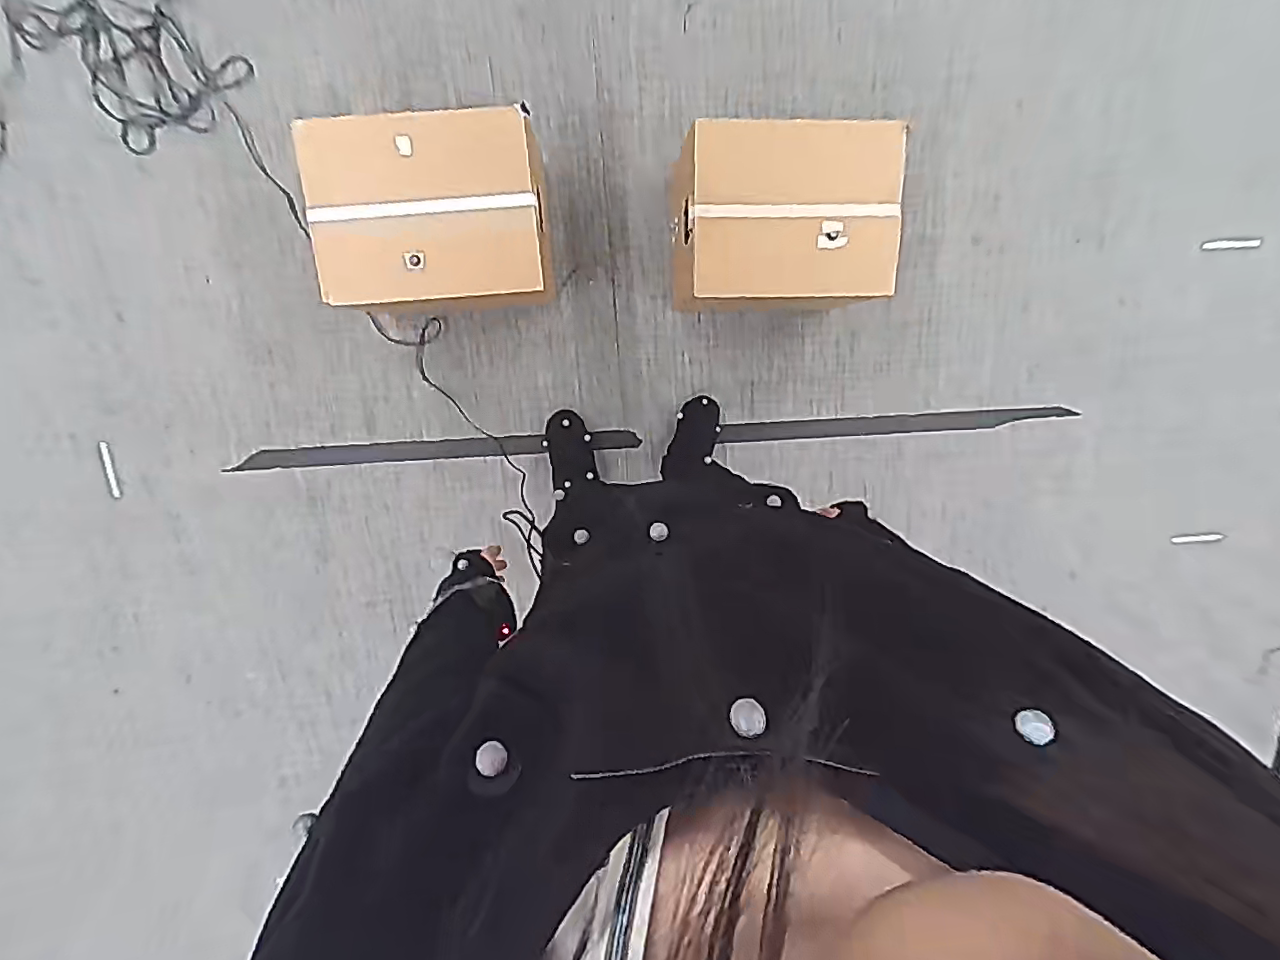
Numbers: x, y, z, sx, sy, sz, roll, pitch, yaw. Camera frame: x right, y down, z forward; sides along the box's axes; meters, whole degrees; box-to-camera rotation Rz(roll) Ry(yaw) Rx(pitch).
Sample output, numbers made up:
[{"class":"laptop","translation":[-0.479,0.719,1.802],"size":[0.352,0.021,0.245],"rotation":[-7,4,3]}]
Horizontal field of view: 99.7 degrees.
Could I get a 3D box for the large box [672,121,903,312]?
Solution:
[{"class":"large box","translation":[0.290,-0.546,1.182],"size":[0.408,0.320,0.320],"rotation":[-2,103,-5]}]
